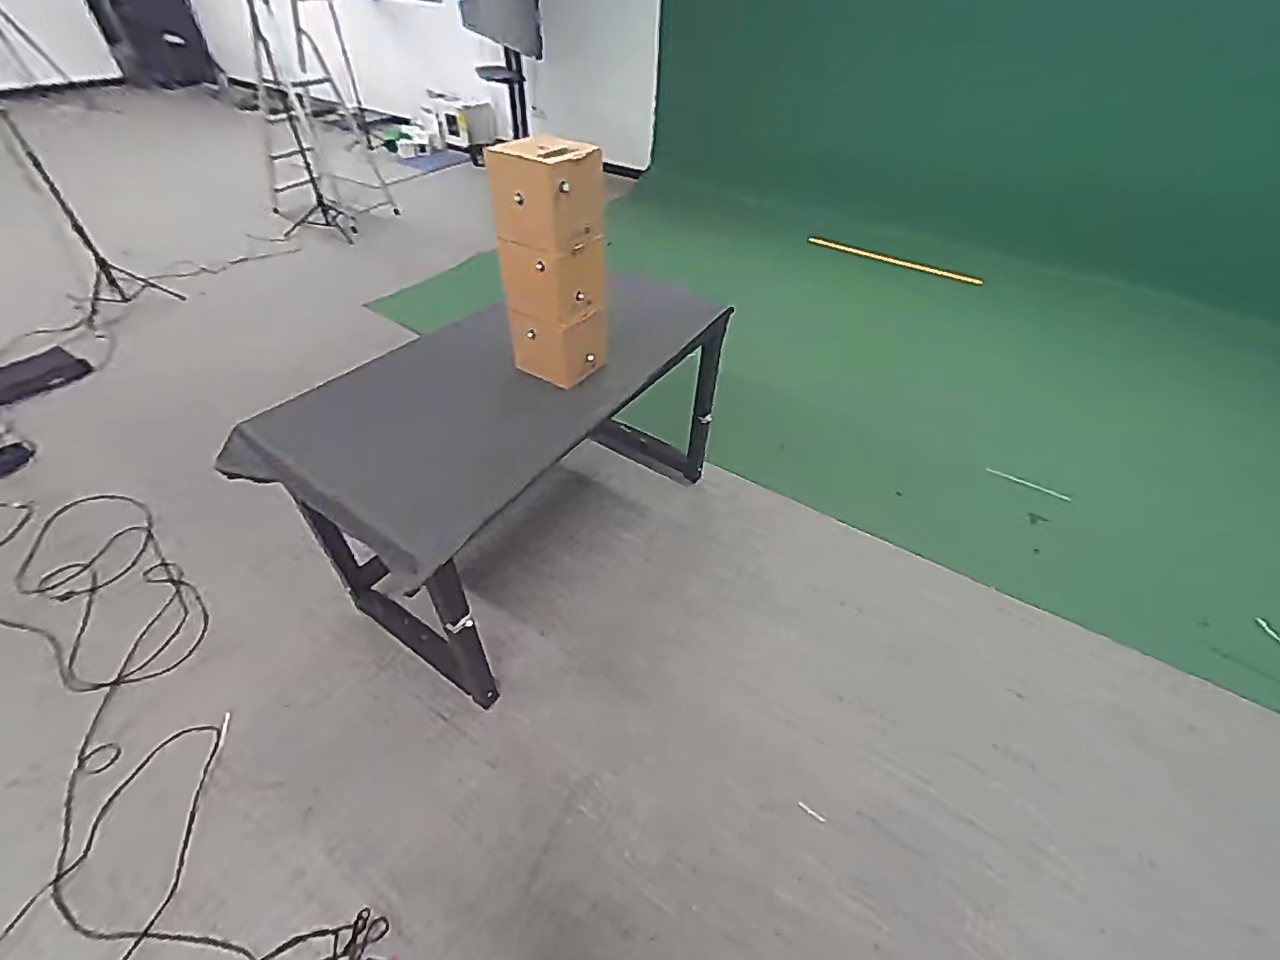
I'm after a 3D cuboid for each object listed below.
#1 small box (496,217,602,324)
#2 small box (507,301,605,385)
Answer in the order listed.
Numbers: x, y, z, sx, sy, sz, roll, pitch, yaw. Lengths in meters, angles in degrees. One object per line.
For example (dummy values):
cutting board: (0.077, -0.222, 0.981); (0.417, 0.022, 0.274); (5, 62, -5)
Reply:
small box: (-0.204, -0.481, 1.242); (0.179, 0.176, 0.168); (27, 48, 22)
small box: (-0.205, -0.362, 1.352); (0.179, 0.176, 0.168); (27, 49, 22)
